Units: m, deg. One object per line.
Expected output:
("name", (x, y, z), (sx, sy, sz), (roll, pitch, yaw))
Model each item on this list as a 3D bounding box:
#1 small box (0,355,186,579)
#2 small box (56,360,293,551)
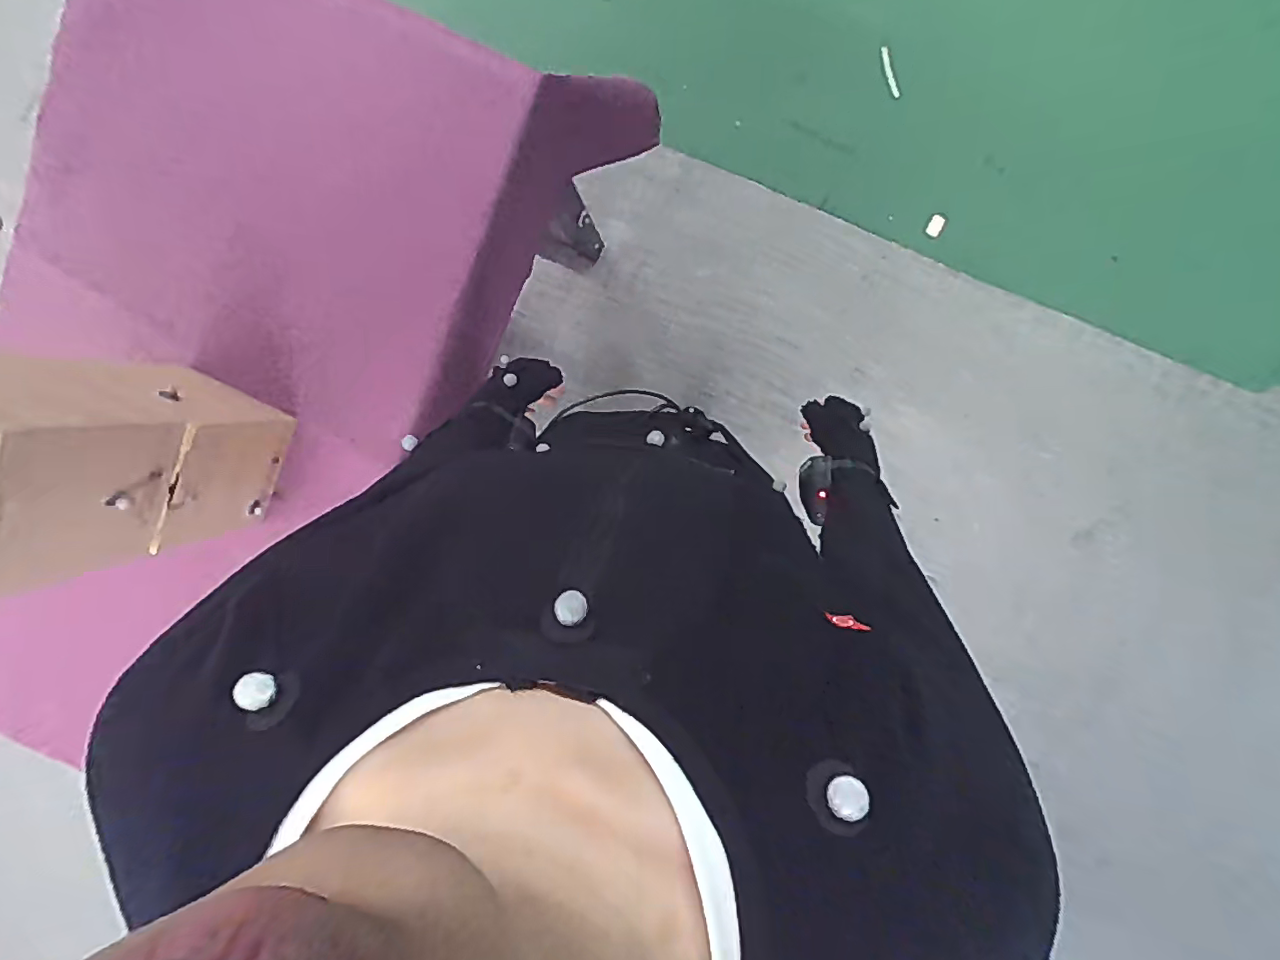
("small box", (-0.609, -0.018, 0.523), (0.179, 0.176, 0.168), (25, 99, 0))
("small box", (-0.590, -0.037, 0.685), (0.179, 0.176, 0.168), (25, 98, 1))
